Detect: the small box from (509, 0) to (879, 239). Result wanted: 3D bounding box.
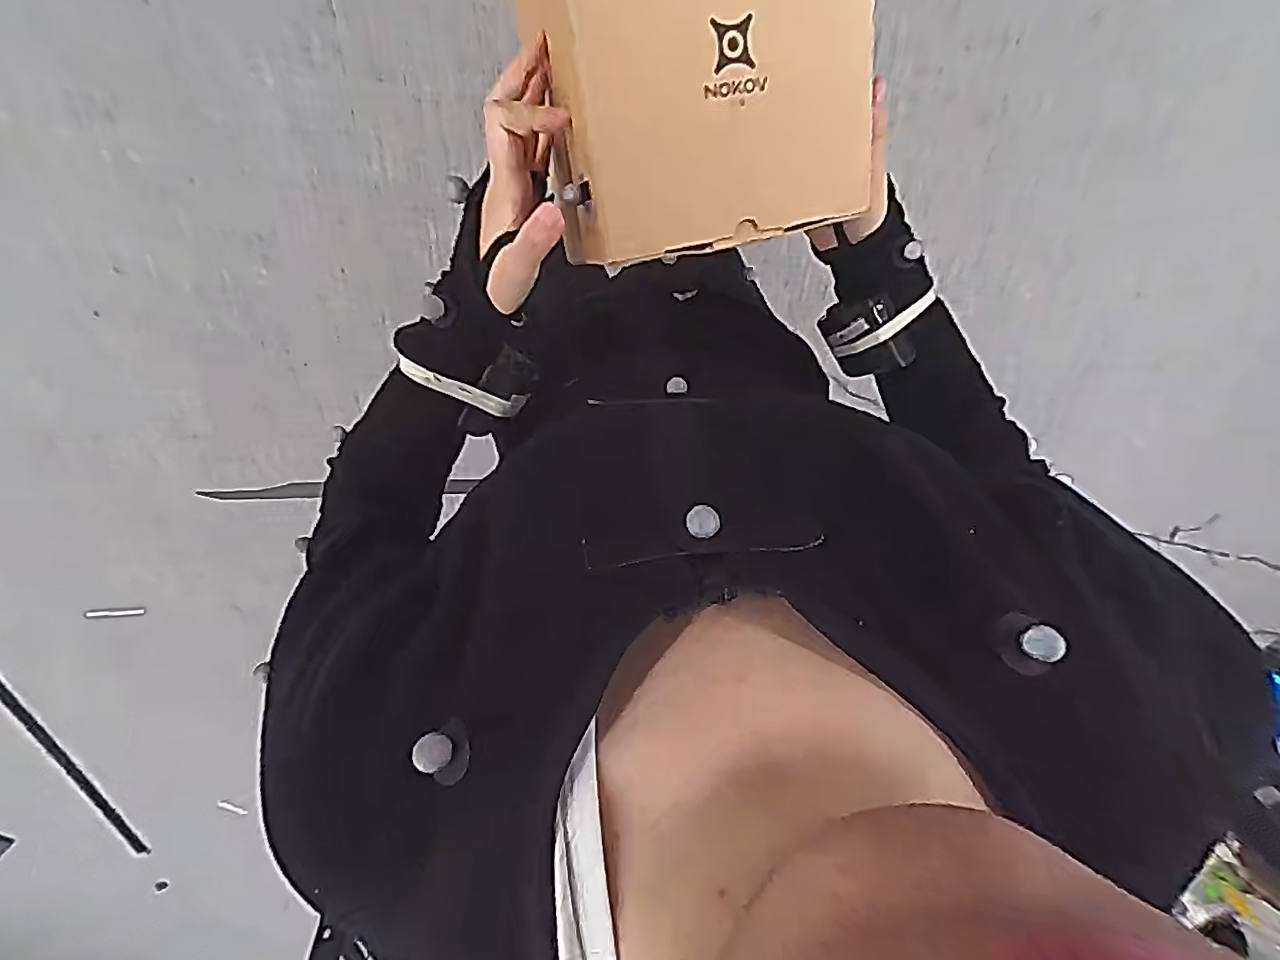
[{"bbox_3d":[0.021,-0.254,0.332,0.168,0.176,0.179,-16,118,-10],"label":"small box"}]
